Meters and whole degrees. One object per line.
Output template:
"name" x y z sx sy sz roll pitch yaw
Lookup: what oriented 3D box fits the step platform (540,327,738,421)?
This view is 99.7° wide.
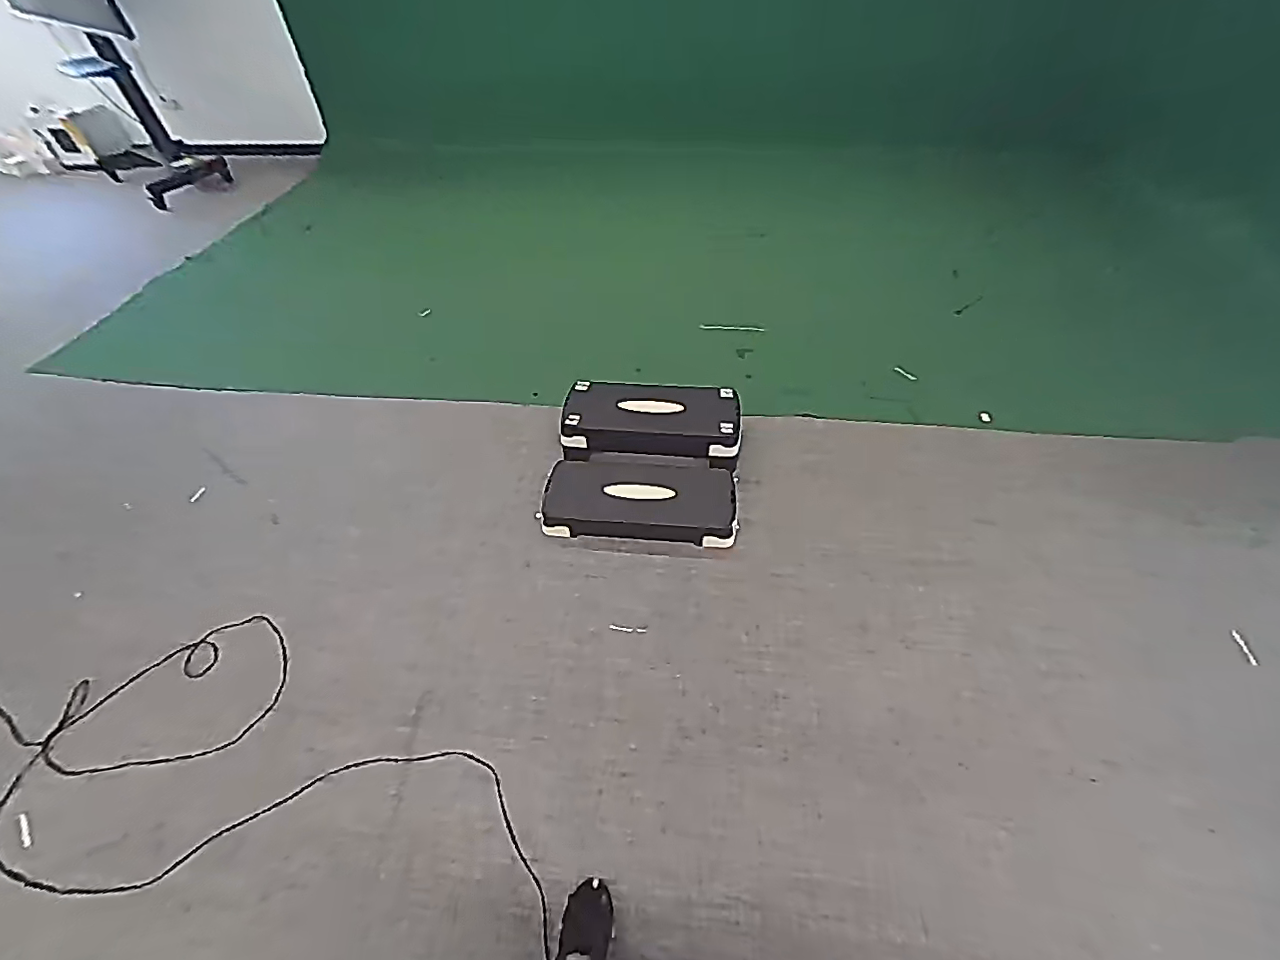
"step platform" 0.000 -0.380 1.944 0.684 0.204 0.286 3 49 6
